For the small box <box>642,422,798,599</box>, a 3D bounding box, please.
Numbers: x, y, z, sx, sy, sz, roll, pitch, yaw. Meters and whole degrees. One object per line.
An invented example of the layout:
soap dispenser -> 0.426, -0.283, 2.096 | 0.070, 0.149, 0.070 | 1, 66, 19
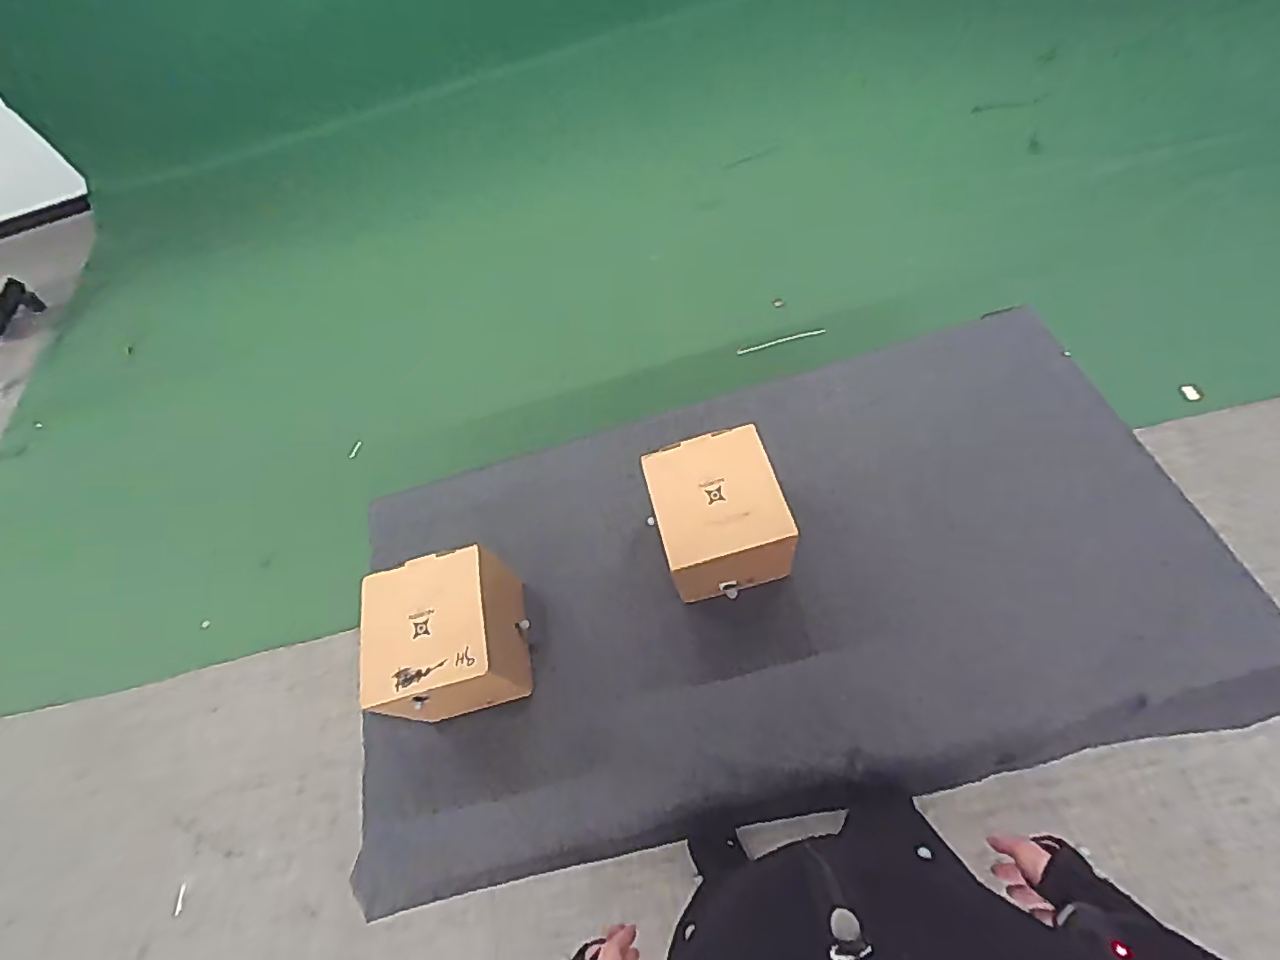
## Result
small box -> 0.111, 0.050, 0.775 | 0.168, 0.176, 0.179 | -17, 62, 3

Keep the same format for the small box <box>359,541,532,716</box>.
small box -> -0.263, 0.213, 0.756 | 0.168, 0.176, 0.179 | -17, 60, 2
